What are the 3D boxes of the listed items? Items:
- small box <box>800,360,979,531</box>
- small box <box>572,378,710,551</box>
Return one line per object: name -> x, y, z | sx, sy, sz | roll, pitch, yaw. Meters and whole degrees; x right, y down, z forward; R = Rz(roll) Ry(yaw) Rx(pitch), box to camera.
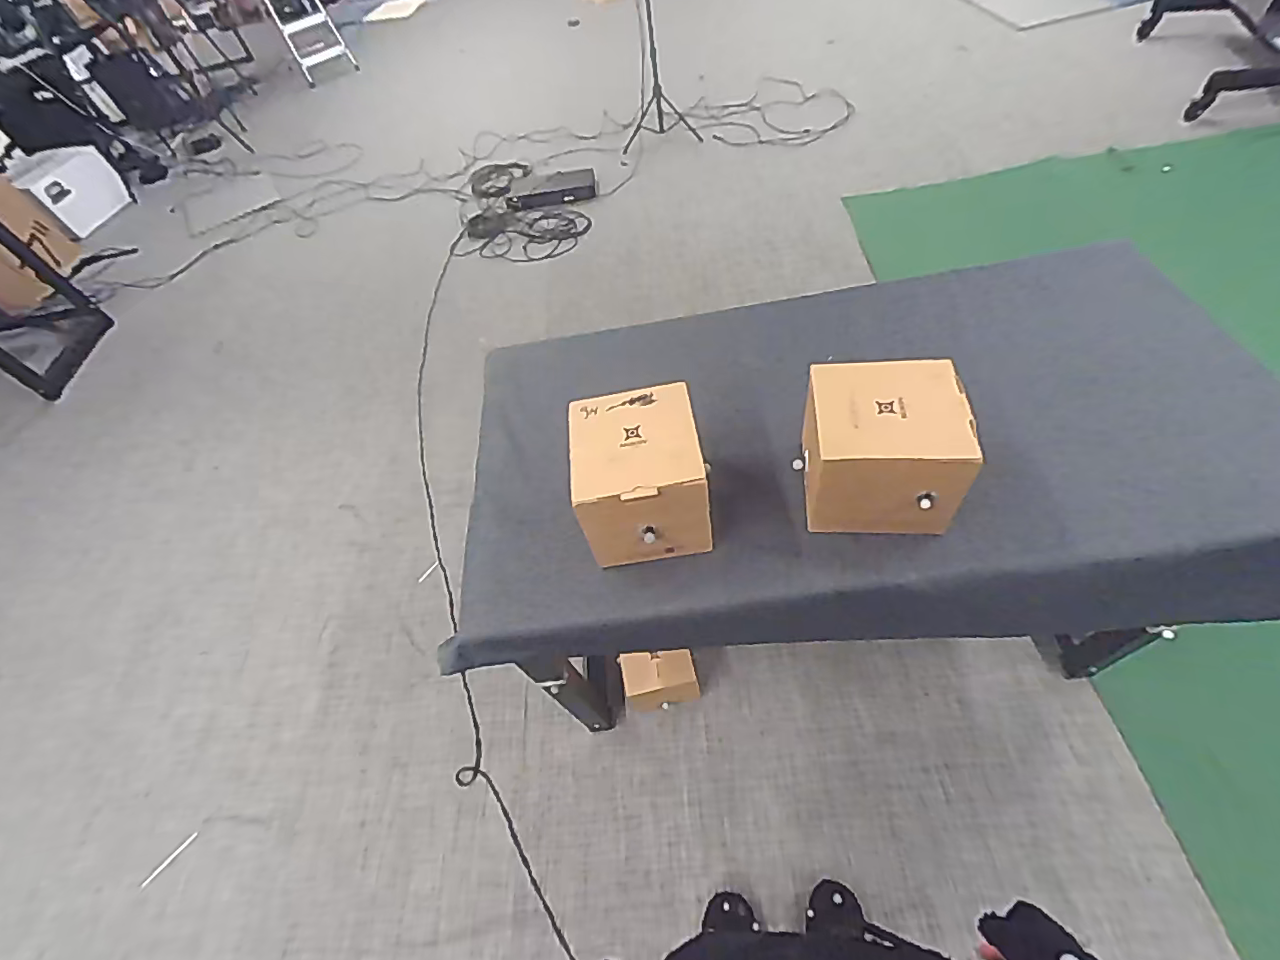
small box -> 0.317, -0.042, 0.730 | 0.179, 0.176, 0.168 | 0, 54, 11
small box -> 0.004, -0.012, 0.760 | 0.168, 0.176, 0.179 | -9, 54, 3
